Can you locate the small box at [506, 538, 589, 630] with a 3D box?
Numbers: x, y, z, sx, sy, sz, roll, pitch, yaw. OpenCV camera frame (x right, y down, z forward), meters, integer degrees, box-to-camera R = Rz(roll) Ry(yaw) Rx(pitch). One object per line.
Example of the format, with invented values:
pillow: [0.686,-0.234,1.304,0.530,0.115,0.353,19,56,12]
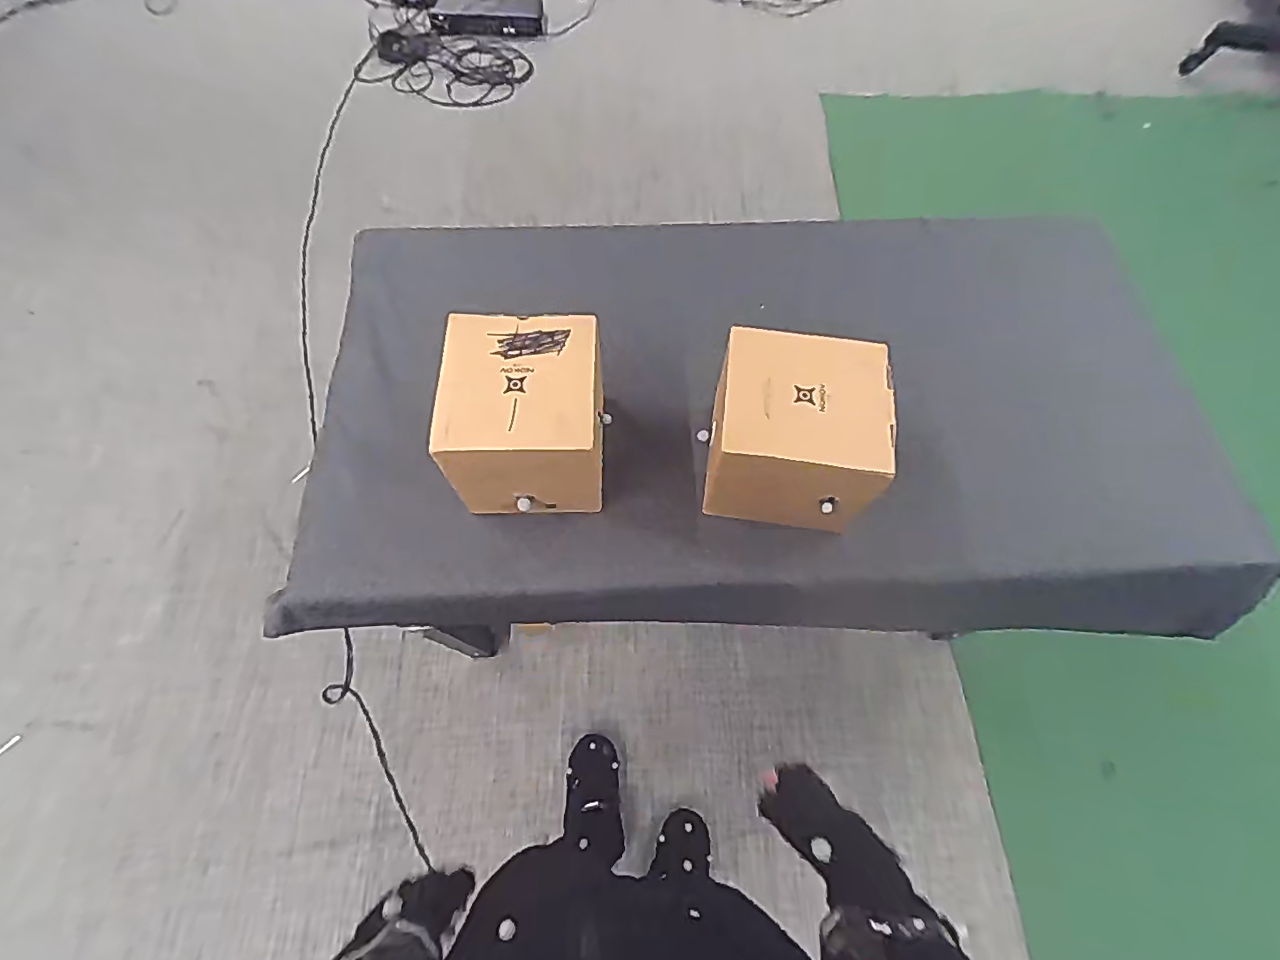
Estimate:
small box: [-0.218,0.258,1.305,0.168,0.176,0.179,-10,67,-5]

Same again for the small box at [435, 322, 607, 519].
small box: [-0.126,-0.066,0.650,0.168,0.176,0.179,0,65,-1]

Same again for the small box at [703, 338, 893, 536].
small box: [0.178,-0.042,0.647,0.179,0.176,0.168,7,64,4]
